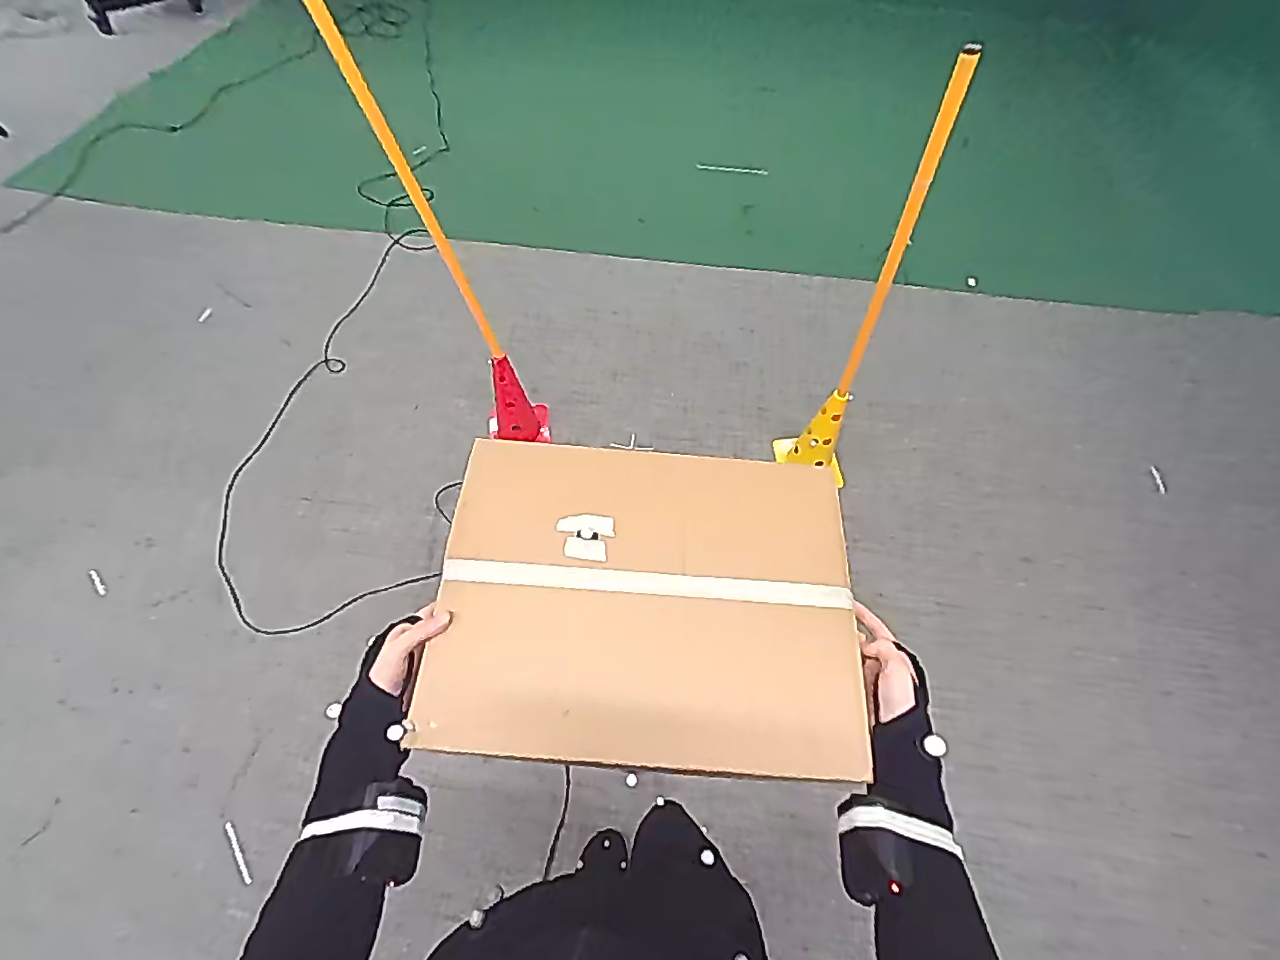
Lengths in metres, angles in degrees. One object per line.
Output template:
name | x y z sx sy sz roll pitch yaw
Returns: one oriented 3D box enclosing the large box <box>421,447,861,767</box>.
large box | 0.007 0.177 0.682 0.408 0.320 0.320 4 61 0
